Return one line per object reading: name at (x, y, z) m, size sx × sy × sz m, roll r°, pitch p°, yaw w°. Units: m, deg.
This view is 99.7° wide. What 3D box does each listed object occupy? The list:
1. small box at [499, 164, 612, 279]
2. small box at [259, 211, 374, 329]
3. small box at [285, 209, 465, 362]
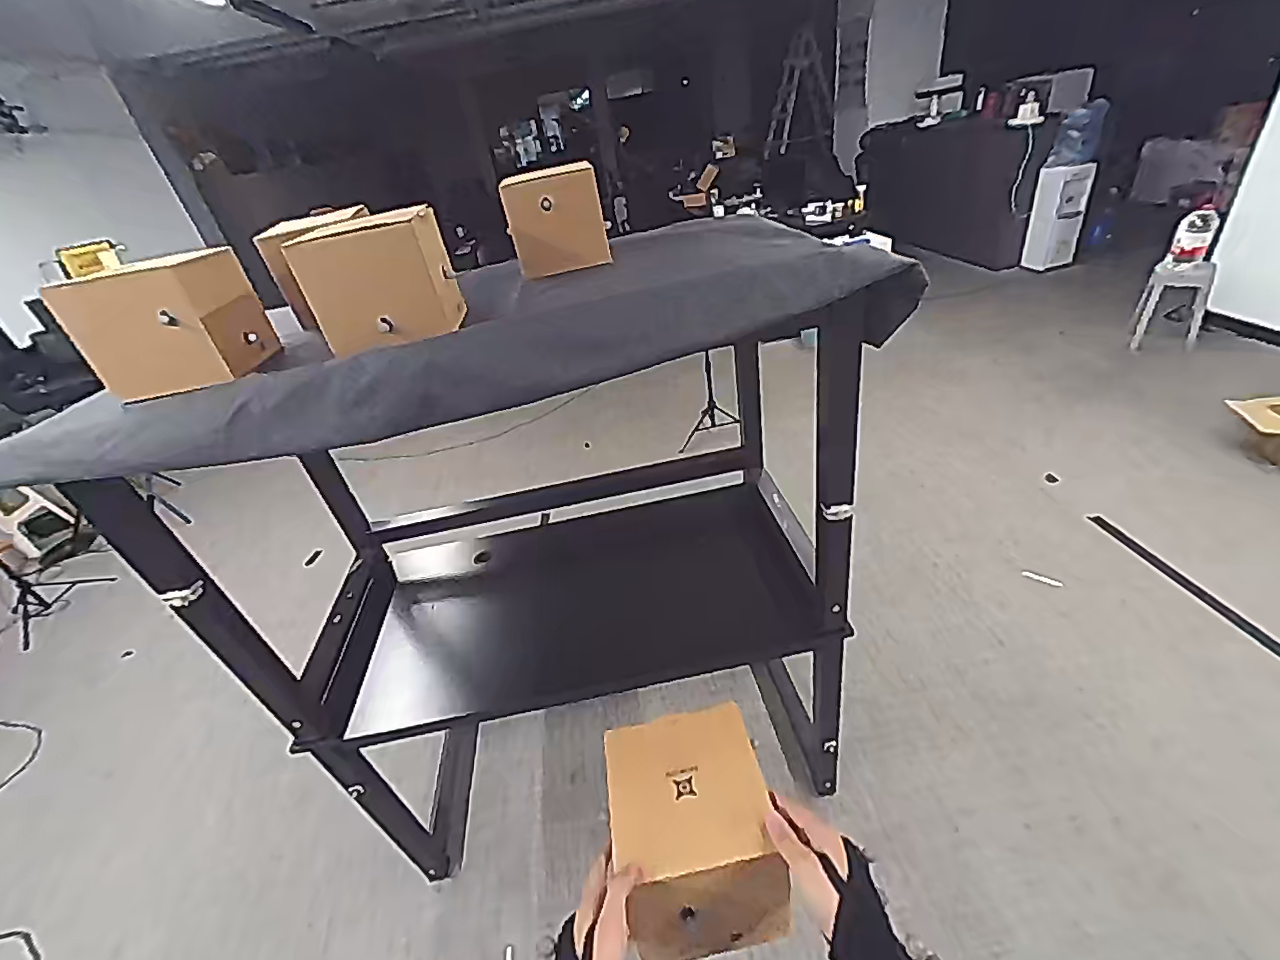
small box at (-0.163, -0.513, 1.074) m, size 0.179 × 0.176 × 0.168 m, roll -12°, pitch 34°, yaw -1°
small box at (-0.583, -0.409, 1.049) m, size 0.168 × 0.176 × 0.179 m, roll -17°, pitch 34°, yaw -6°
small box at (-0.384, -0.299, 0.827) m, size 0.179 × 0.176 × 0.168 m, roll -12°, pitch 33°, yaw -2°
